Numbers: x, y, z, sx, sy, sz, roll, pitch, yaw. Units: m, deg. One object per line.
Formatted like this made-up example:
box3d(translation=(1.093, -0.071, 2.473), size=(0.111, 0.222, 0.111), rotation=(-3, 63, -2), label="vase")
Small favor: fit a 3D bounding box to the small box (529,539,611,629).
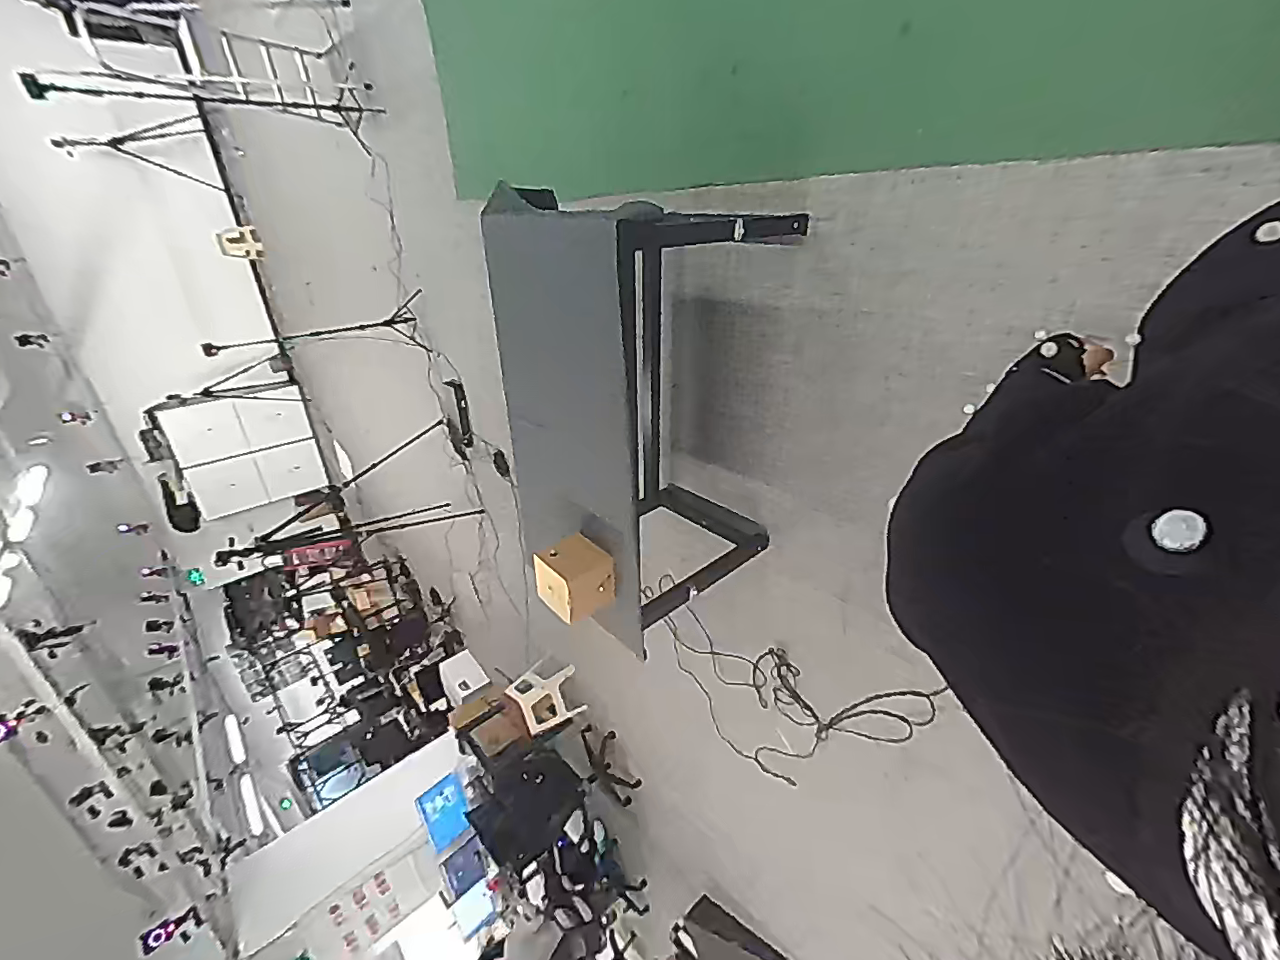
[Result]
box3d(translation=(-0.204, 0.295, 1.590), size=(0.179, 0.176, 0.168), rotation=(28, 130, 40), label="small box")
